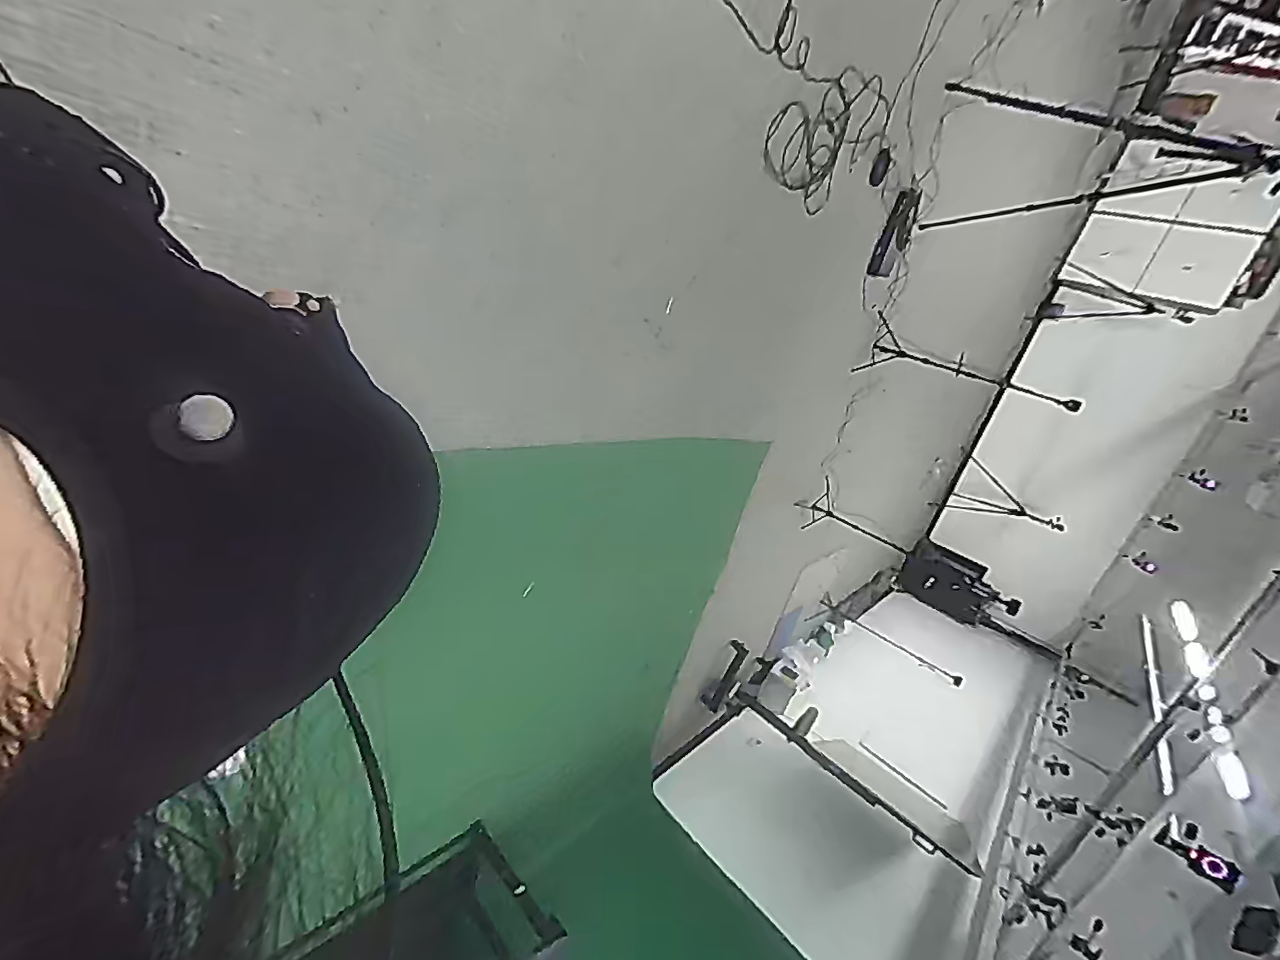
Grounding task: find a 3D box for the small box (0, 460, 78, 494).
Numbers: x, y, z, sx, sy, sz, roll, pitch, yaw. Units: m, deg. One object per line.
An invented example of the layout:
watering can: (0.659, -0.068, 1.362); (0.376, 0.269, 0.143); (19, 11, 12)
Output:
small box: (-1.164, 0.067, 0.999); (0.168, 0.176, 0.179); (-5, 118, -49)
